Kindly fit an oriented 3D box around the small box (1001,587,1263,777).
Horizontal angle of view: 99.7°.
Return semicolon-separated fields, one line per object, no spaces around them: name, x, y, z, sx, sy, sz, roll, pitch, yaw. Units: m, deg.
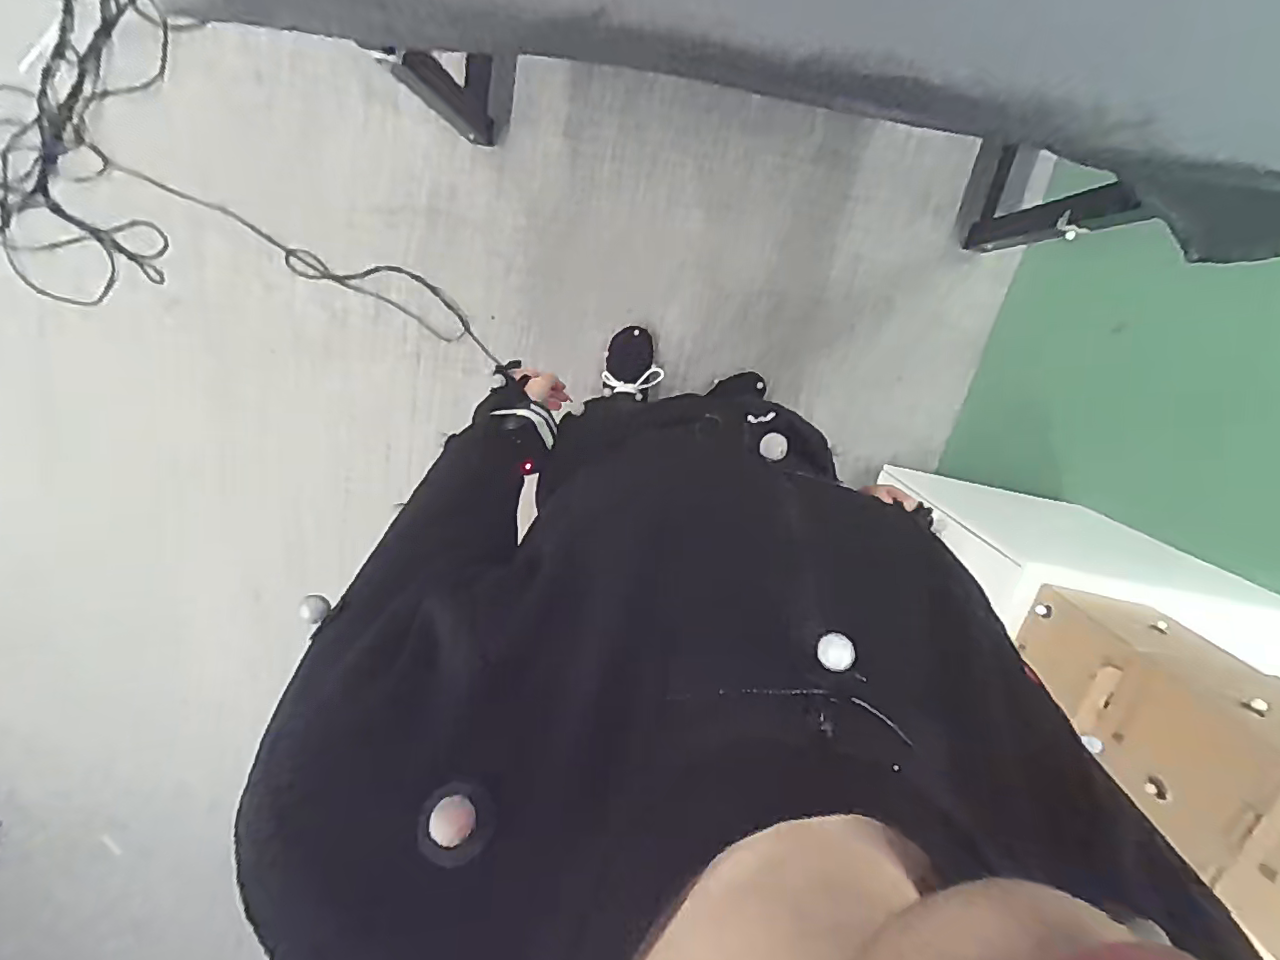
small box;0.653;0.267;0.748;0.179;0.176;0.168;12;108;-3
